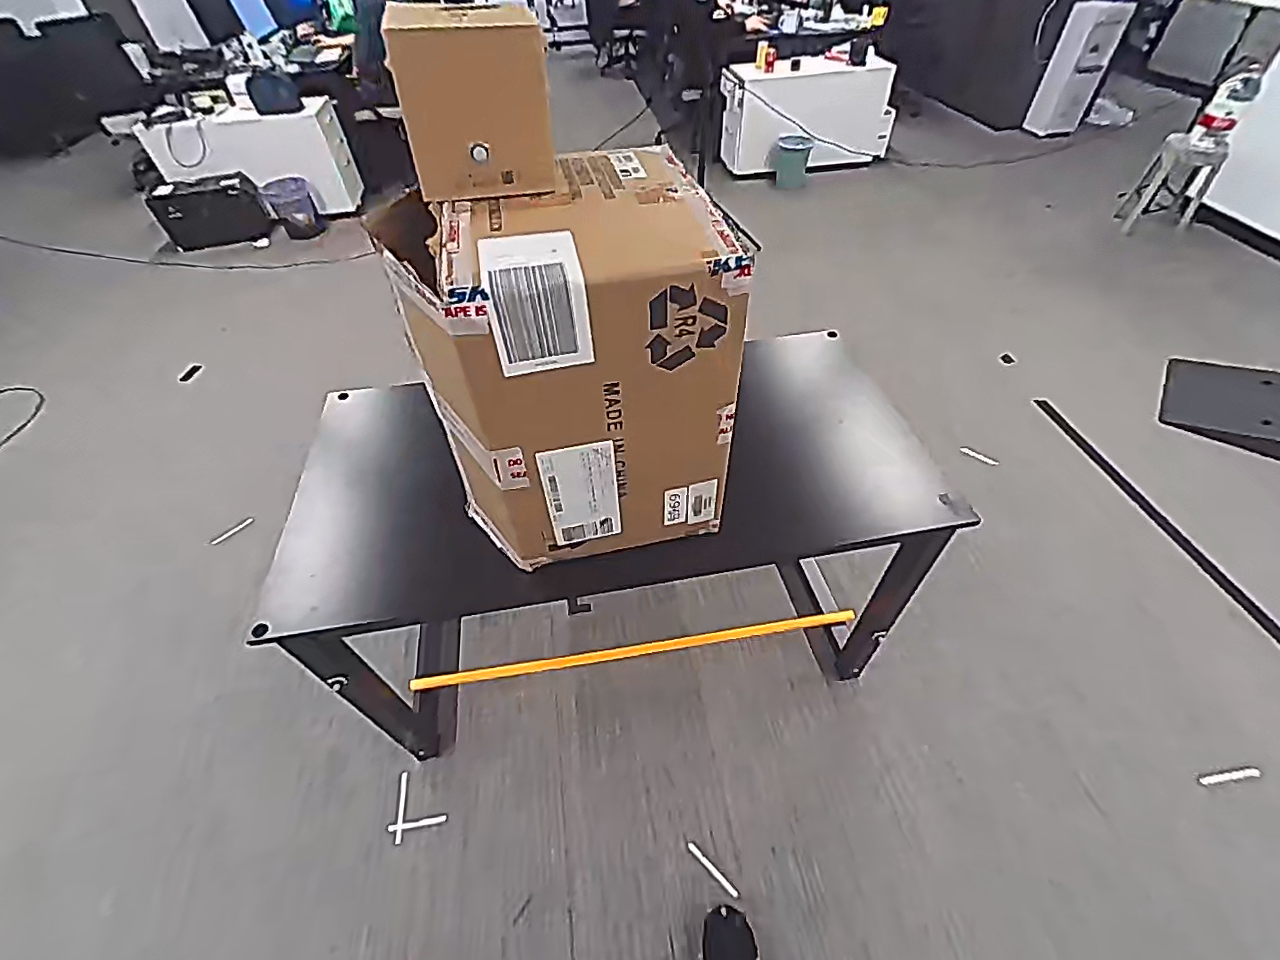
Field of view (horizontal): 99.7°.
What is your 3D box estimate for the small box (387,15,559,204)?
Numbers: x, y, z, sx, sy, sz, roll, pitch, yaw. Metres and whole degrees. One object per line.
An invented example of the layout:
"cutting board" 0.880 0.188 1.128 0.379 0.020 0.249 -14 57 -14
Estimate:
"small box" -0.201 -0.464 0.677 0.168 0.176 0.179 -11 47 -11
